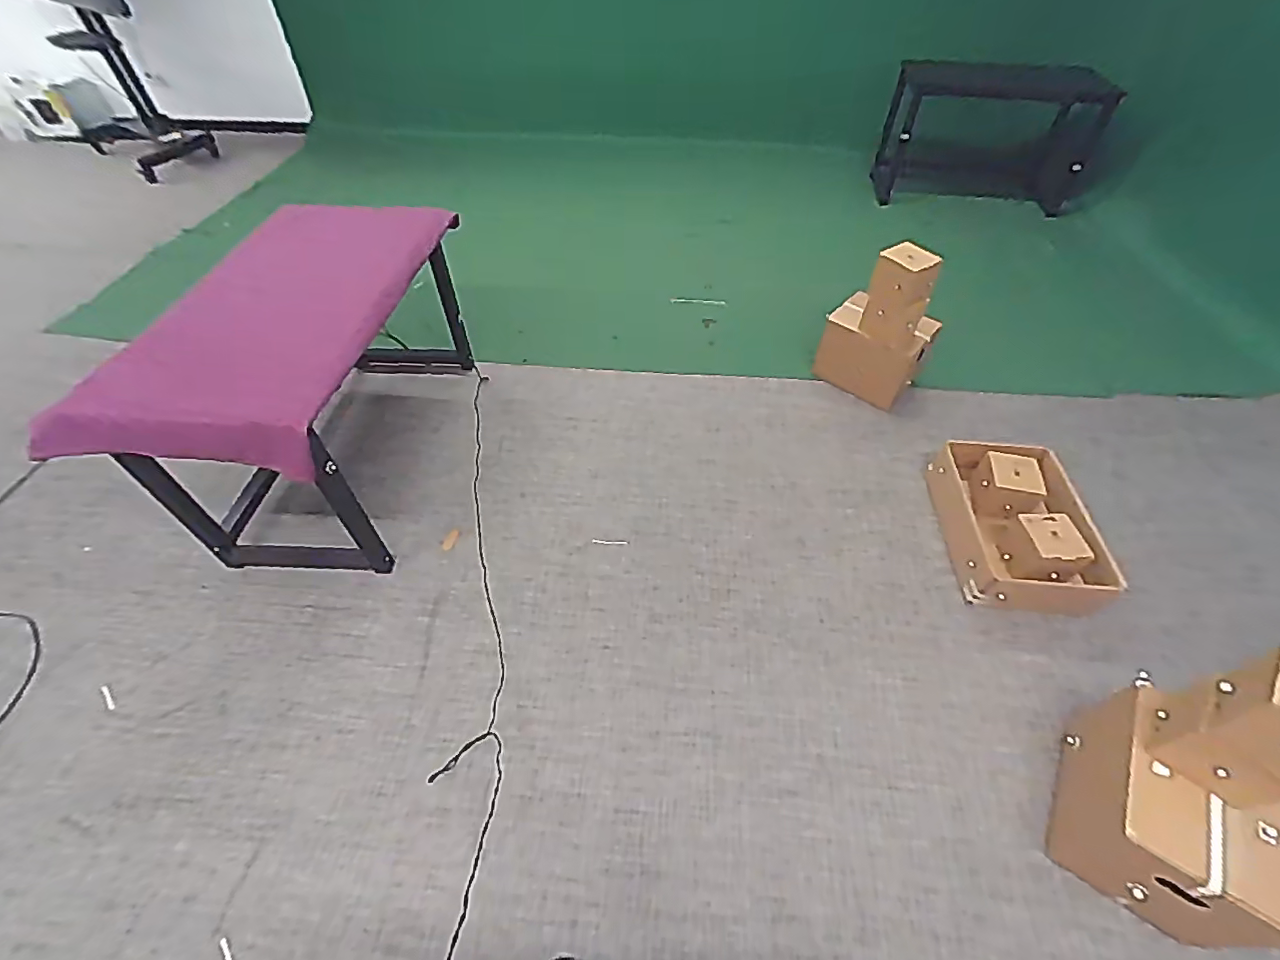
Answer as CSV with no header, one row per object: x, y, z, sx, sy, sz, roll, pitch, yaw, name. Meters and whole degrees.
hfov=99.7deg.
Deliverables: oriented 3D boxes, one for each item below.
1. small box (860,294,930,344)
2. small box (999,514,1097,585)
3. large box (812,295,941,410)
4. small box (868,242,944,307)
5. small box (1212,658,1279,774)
1.049,-0.685,2.234,0.168,0.176,0.179,-30,55,-21,small box
1.331,0.231,1.776,0.168,0.176,0.179,0,49,1,small box
1.066,-0.584,2.468,0.408,0.320,0.320,34,56,27,large box
1.035,-0.798,2.116,0.168,0.176,0.179,-26,54,-19,small box
1.263,0.456,1.019,0.168,0.176,0.179,-37,56,-27,small box
